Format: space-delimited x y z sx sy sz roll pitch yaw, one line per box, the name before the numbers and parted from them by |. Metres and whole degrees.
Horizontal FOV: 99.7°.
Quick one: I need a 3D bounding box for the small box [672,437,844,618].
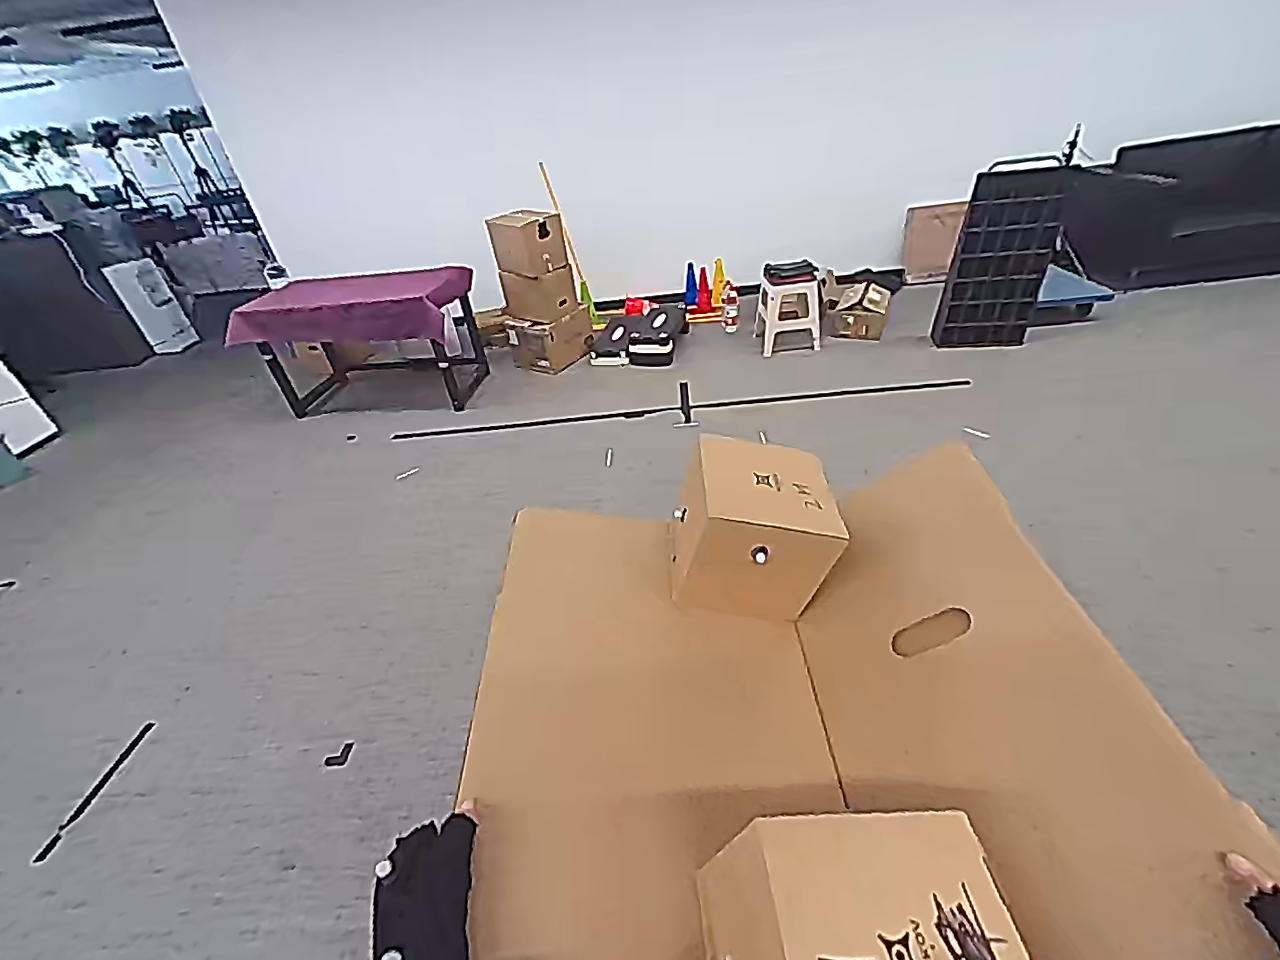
small box | 0.143 0.068 0.736 0.179 0.176 0.168 10 41 -7
